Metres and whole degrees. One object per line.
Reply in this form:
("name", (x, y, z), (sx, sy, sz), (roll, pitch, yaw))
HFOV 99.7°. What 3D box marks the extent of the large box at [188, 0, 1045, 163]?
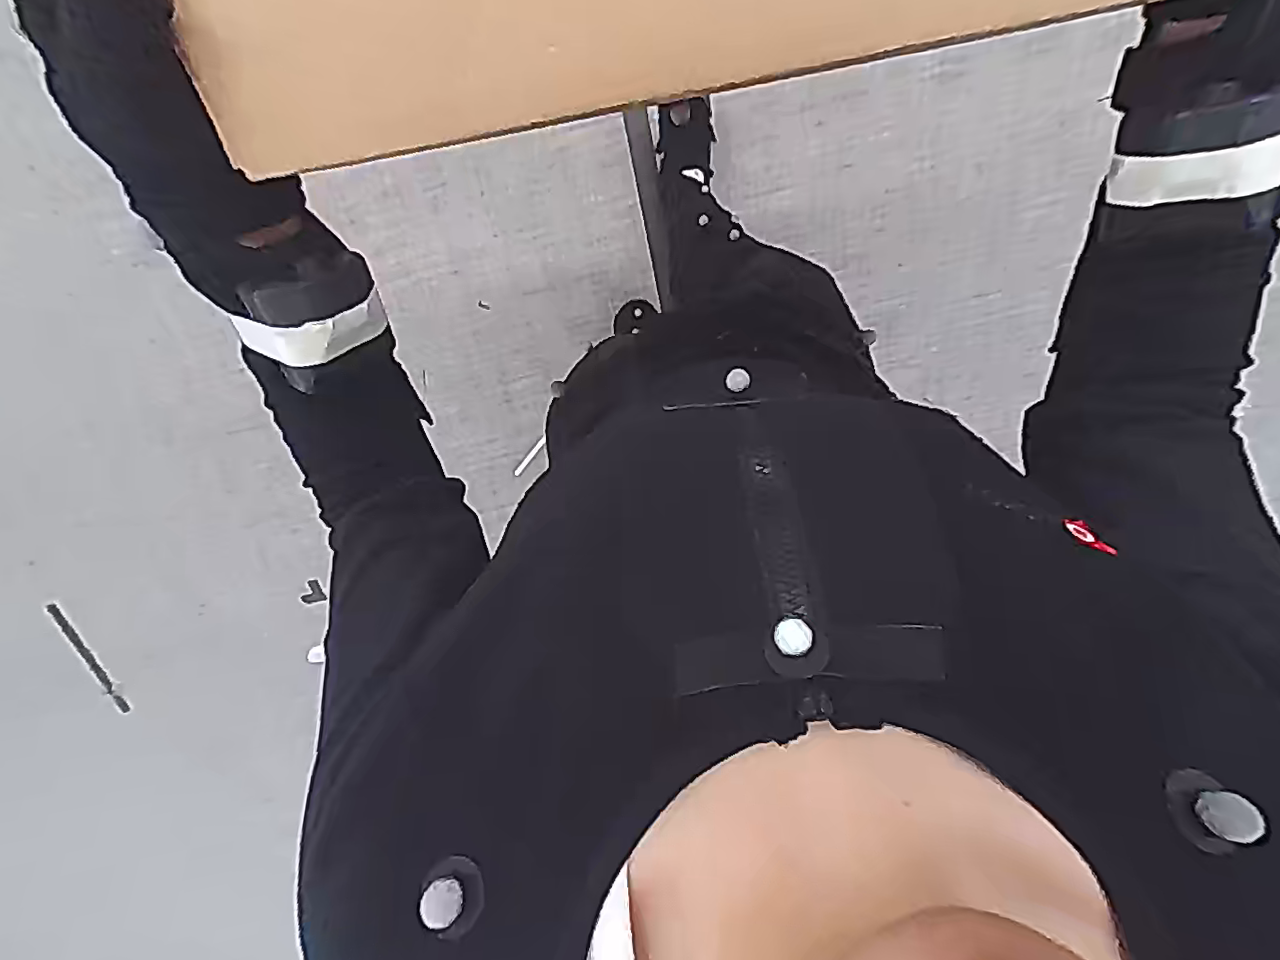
("large box", (-0.004, -0.380, 0.263), (0.408, 0.320, 0.320), (-9, 126, 4))
